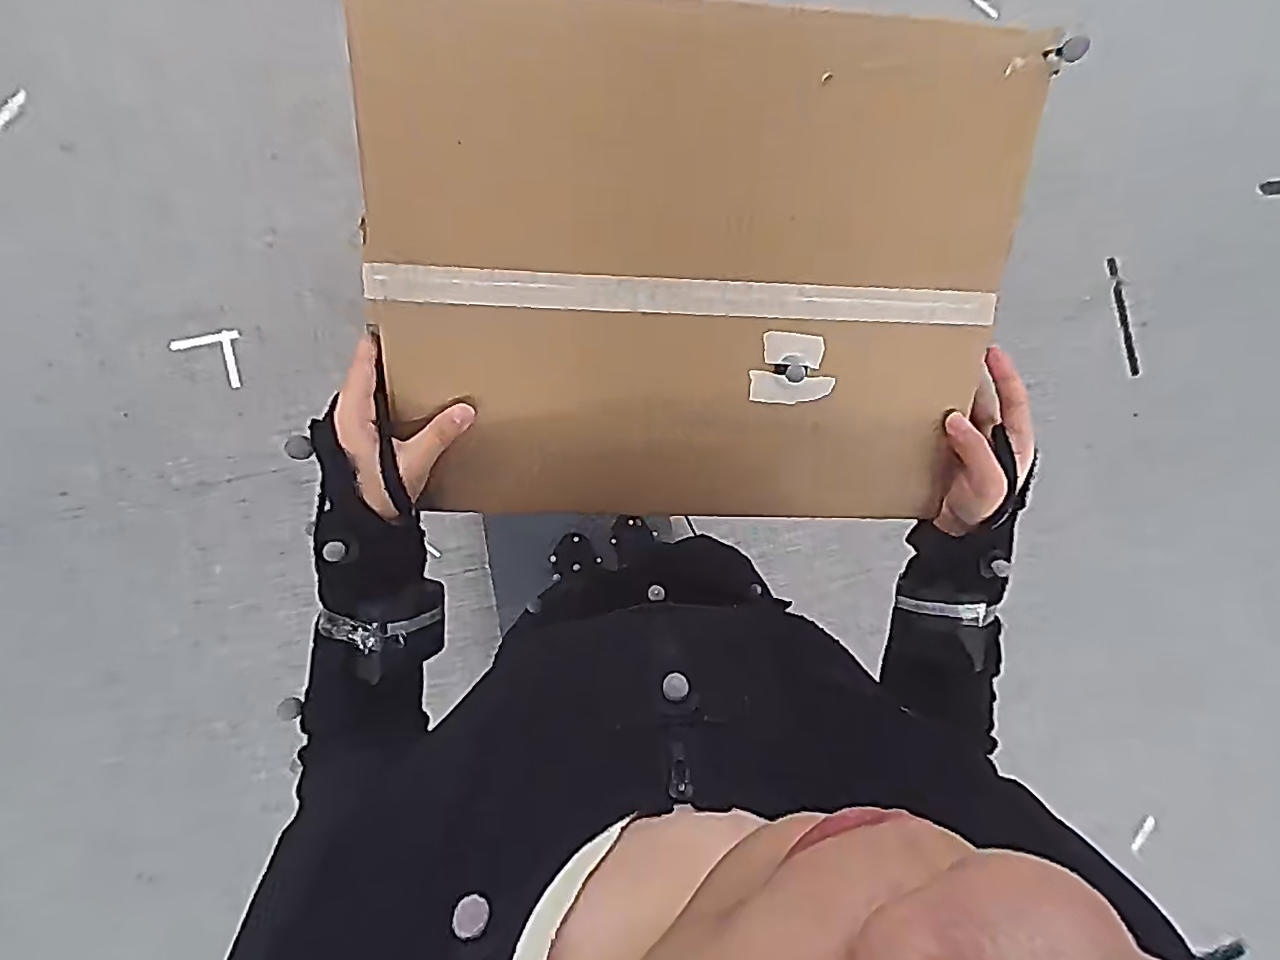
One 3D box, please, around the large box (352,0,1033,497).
[{"bbox_3d":[0.021,-0.182,0.495,0.408,0.320,0.320,1,111,-6],"label":"large box"}]
